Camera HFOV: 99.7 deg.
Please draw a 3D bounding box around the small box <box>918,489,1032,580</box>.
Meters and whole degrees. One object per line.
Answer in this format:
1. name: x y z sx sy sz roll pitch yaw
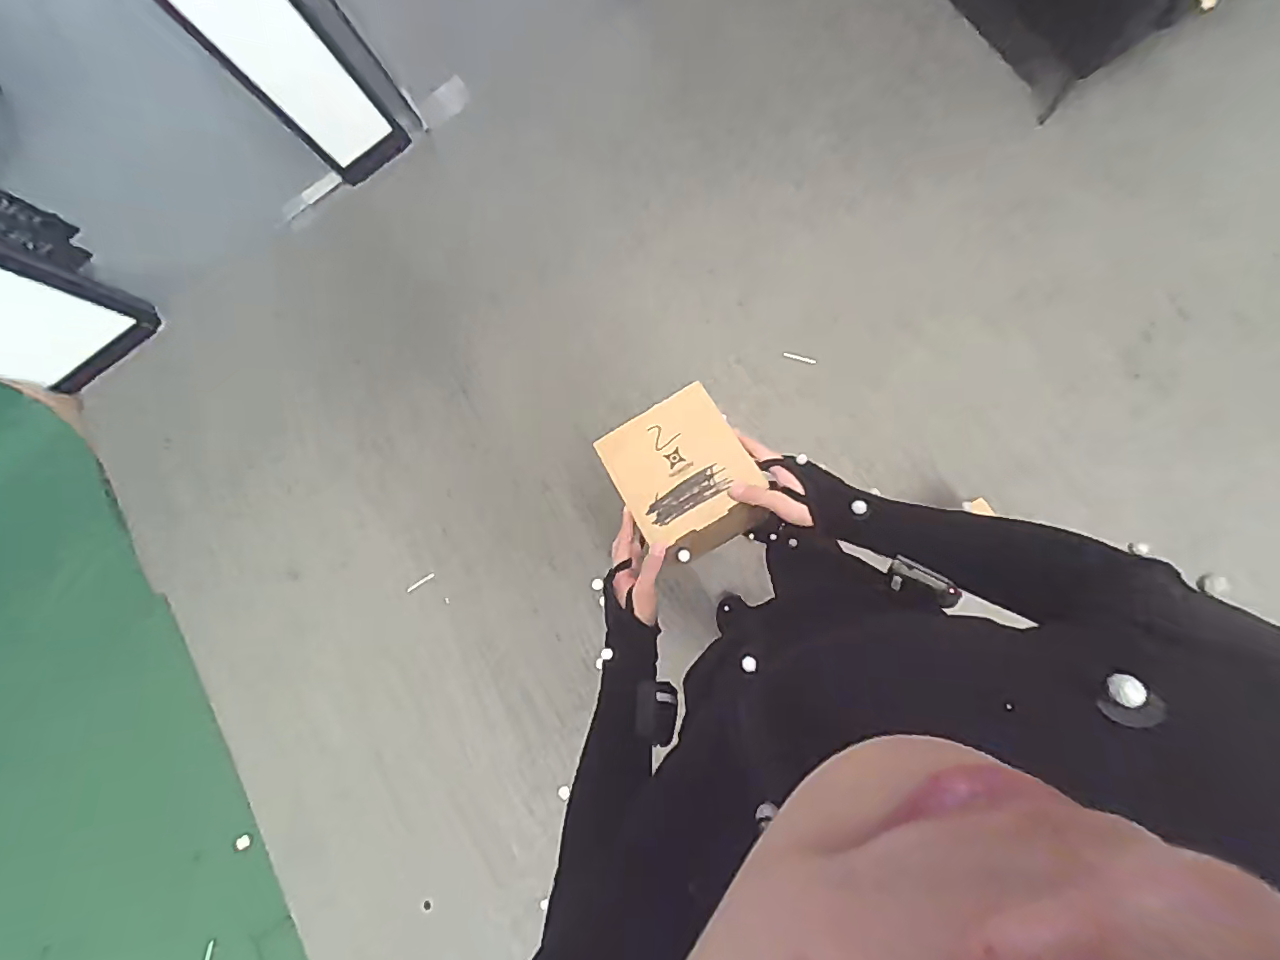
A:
1. small box: 0.870 0.146 1.431 0.179 0.176 0.168 -36 79 5
